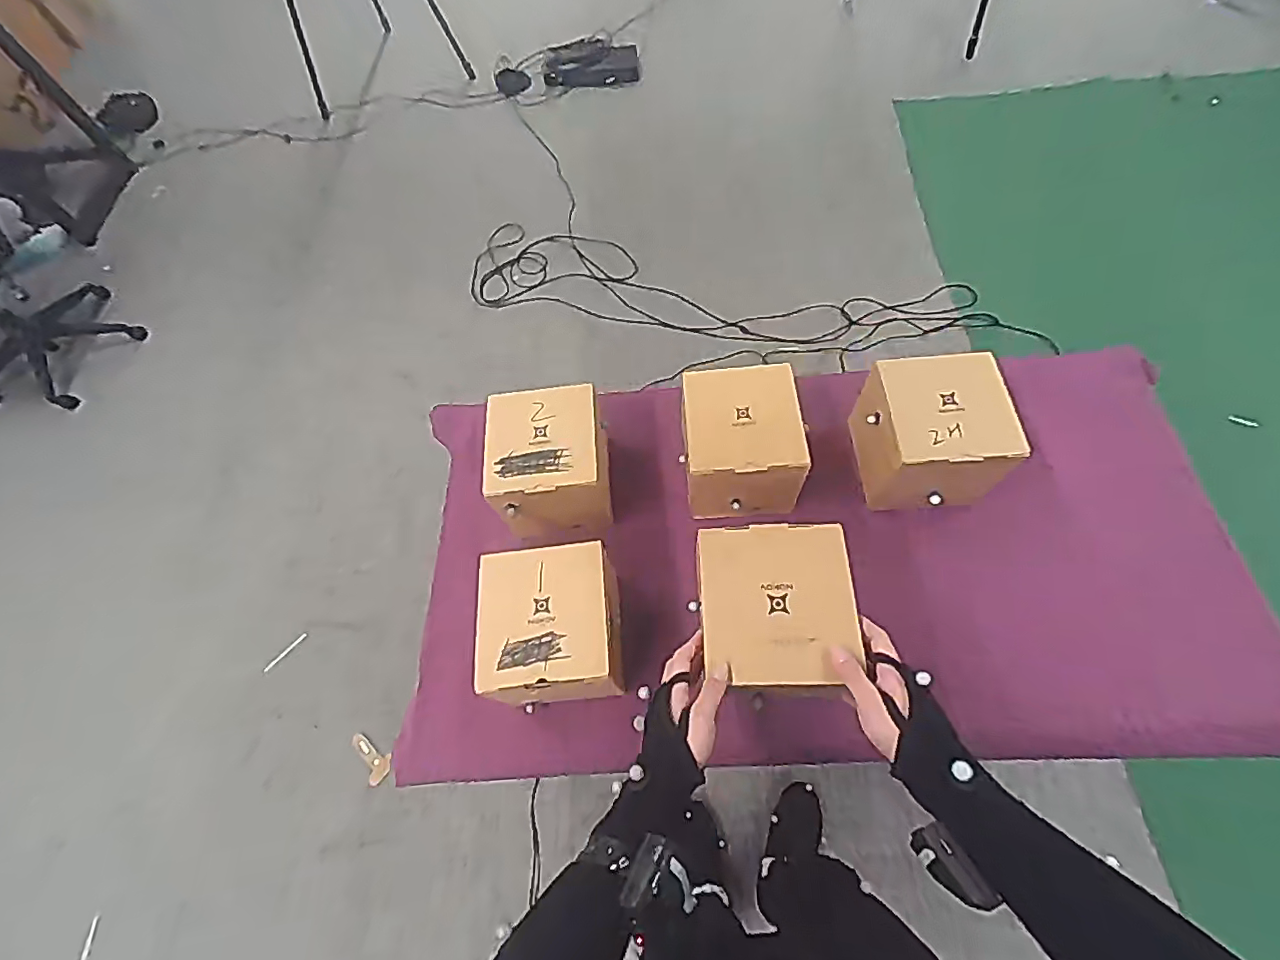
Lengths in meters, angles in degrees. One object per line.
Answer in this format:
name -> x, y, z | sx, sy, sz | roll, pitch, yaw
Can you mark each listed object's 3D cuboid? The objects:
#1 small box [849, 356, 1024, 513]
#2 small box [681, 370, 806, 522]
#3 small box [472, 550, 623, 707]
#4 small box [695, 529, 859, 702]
small box -> 0.432, -0.064, 0.825 | 0.168, 0.176, 0.179 | -4, 64, 6
small box -> 0.152, -0.048, 0.855 | 0.168, 0.176, 0.179 | -5, 64, 4
small box -> -0.119, 0.215, 0.753 | 0.168, 0.176, 0.179 | -7, 61, 3
small box -> 0.152, 0.171, 0.664 | 0.168, 0.176, 0.179 | -3, 64, 6
